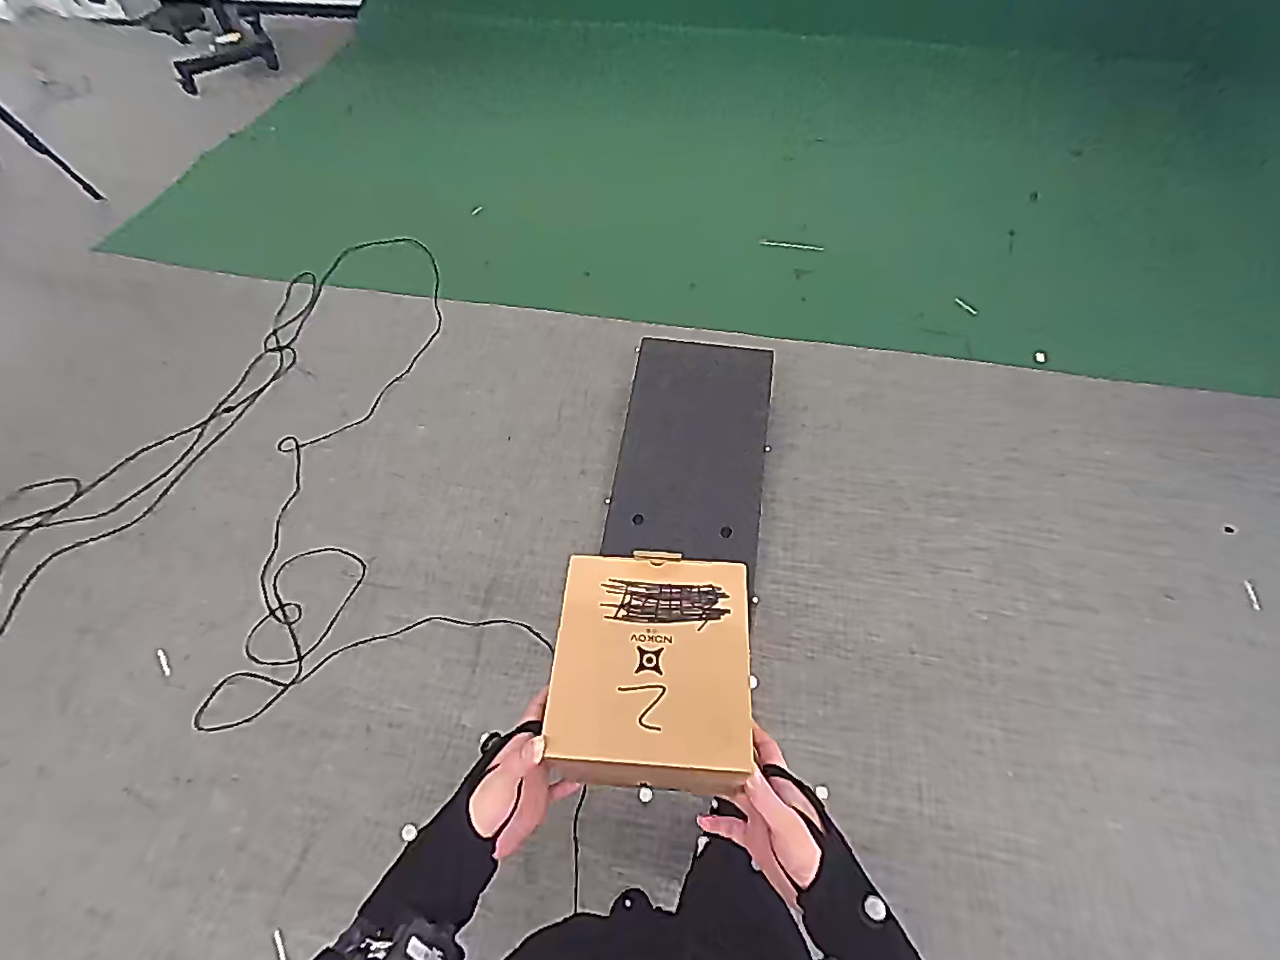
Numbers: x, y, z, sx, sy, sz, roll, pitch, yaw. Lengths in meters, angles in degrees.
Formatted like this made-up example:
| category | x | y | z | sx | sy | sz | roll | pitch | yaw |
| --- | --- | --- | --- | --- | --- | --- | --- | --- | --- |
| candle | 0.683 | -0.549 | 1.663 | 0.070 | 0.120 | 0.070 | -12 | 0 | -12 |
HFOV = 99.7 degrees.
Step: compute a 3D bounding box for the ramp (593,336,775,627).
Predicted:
| category | x | y | z | sx | sy | sz | roll | pitch | yaw |
| --- | --- | --- | --- | --- | --- | --- | --- | --- | --- |
| ramp | 0.174 | -0.047 | 1.804 | 0.509 | 0.206 | 0.991 | 7 | 58 | 4 |
